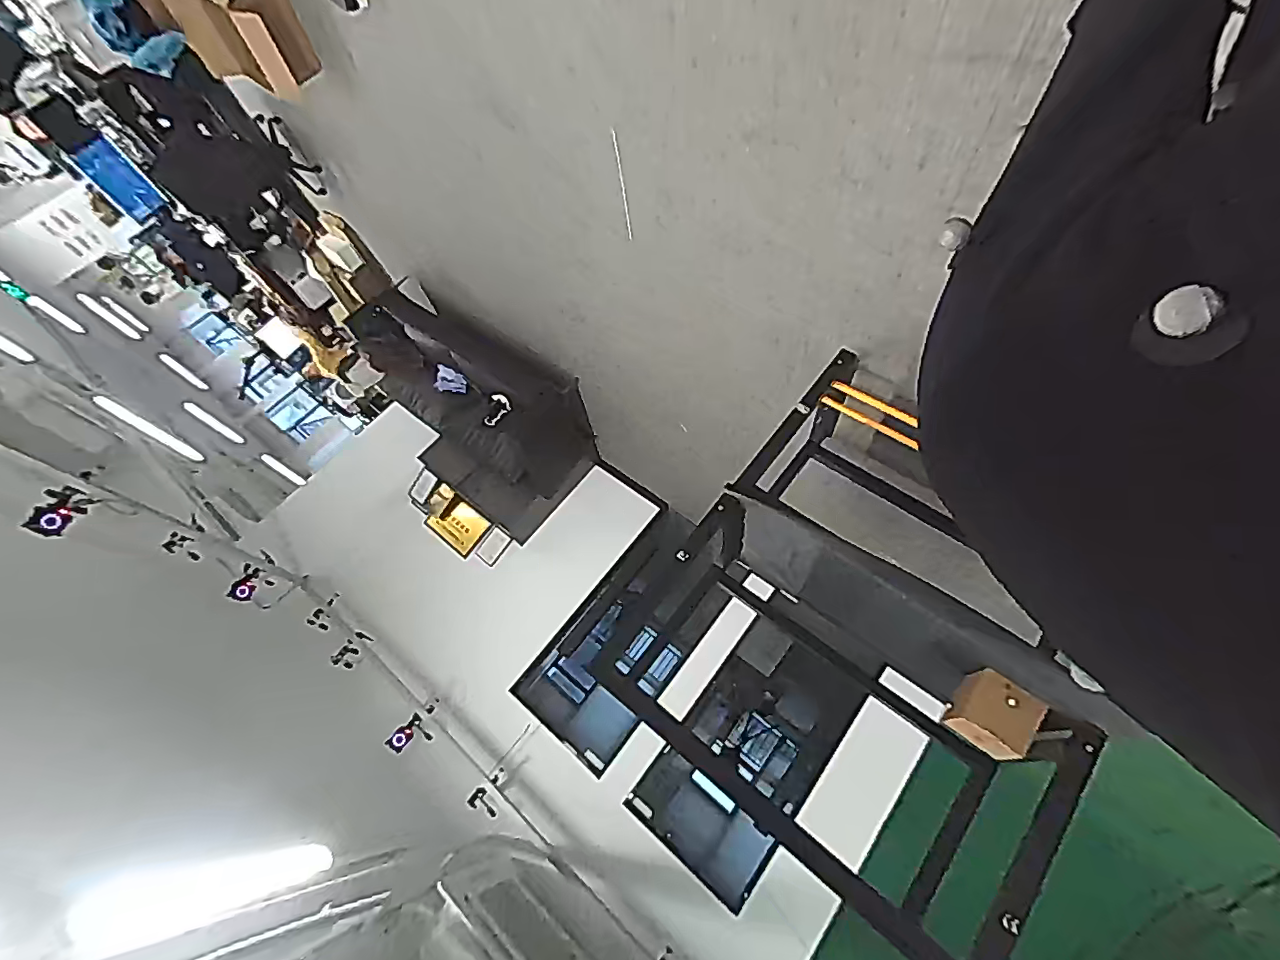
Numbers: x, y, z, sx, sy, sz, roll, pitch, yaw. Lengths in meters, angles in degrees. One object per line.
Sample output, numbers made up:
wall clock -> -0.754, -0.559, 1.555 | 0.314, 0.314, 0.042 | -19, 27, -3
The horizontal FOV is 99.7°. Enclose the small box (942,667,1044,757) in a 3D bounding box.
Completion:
small box -> 1.012, 0.667, 1.553 | 0.168, 0.176, 0.179 | 33, 161, 23
